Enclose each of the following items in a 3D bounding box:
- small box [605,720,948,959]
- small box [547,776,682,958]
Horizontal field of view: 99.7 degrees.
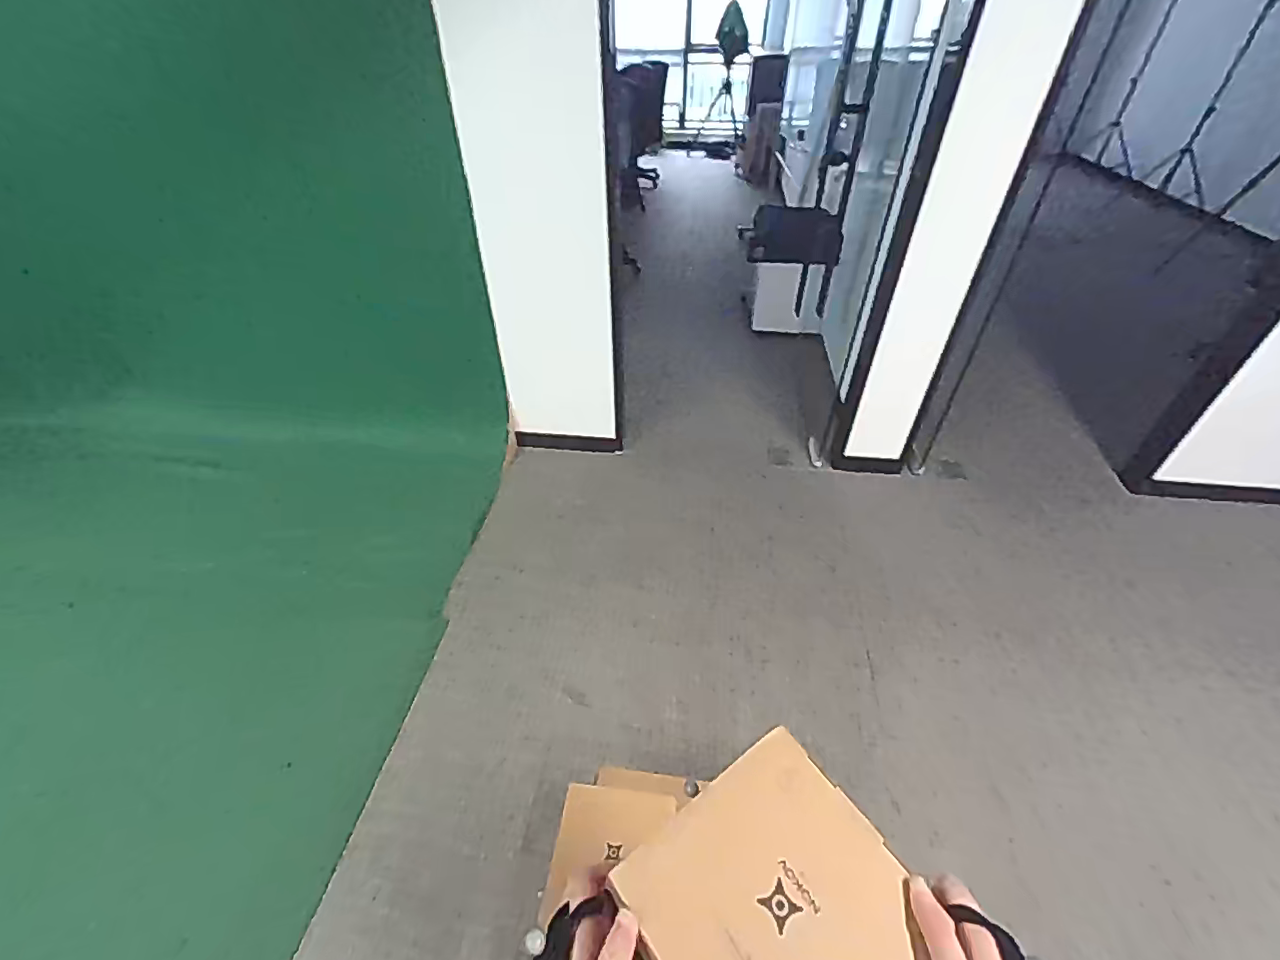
[{"bbox_3d":[0.085,0.331,0.423,0.179,0.176,0.168,-26,55,-26],"label":"small box"},{"bbox_3d":[-0.030,0.575,0.803,0.168,0.176,0.179,5,41,7],"label":"small box"}]
